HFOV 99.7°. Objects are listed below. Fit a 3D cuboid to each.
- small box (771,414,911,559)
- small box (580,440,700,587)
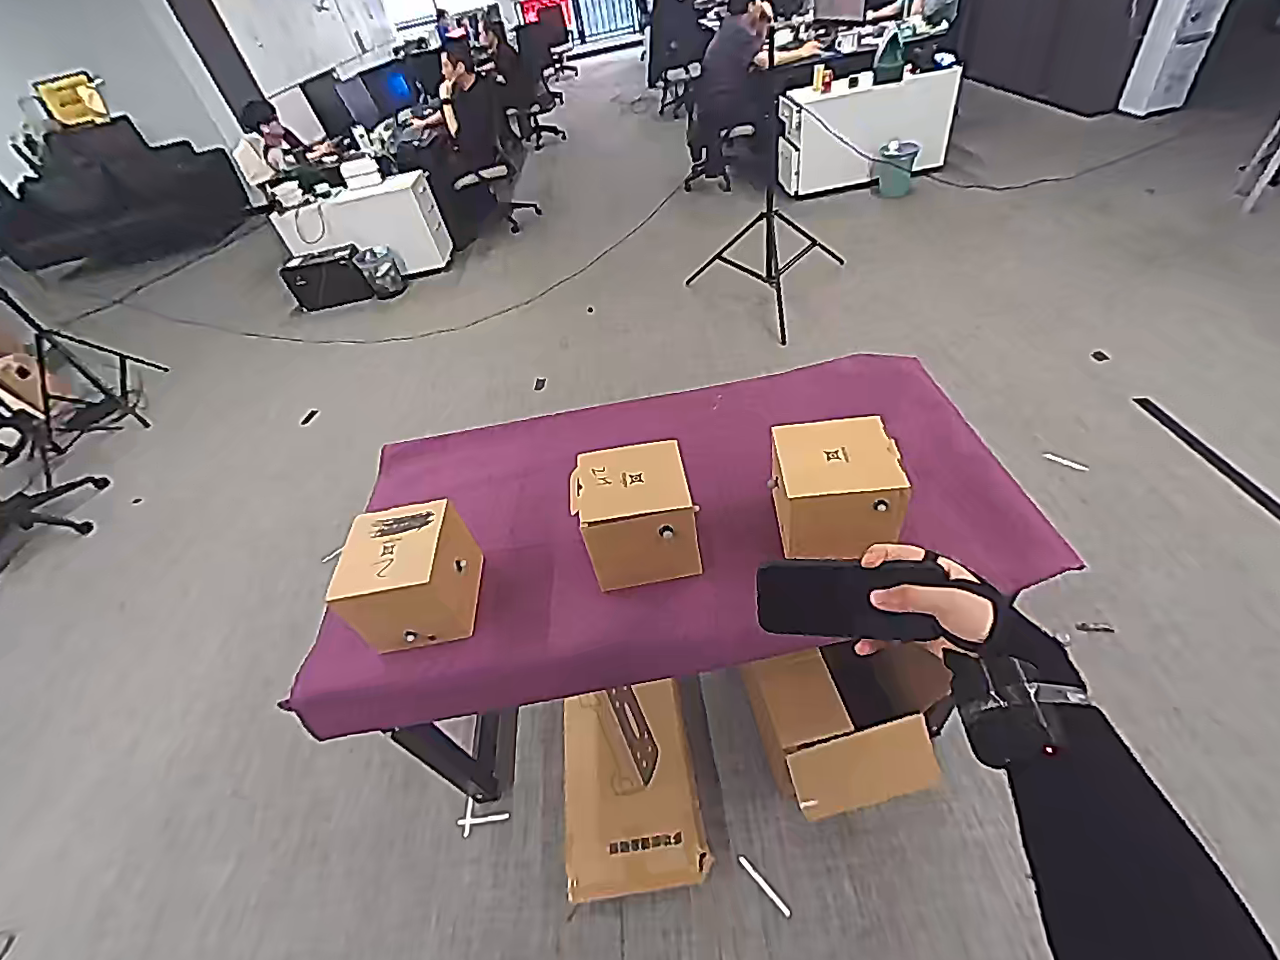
[{"bbox_3d":[0.317,0.015,0.889,0.179,0.176,0.168,-6,45,7],"label":"small box"},{"bbox_3d":[0.003,0.059,0.918,0.179,0.176,0.168,-11,42,2],"label":"small box"}]
